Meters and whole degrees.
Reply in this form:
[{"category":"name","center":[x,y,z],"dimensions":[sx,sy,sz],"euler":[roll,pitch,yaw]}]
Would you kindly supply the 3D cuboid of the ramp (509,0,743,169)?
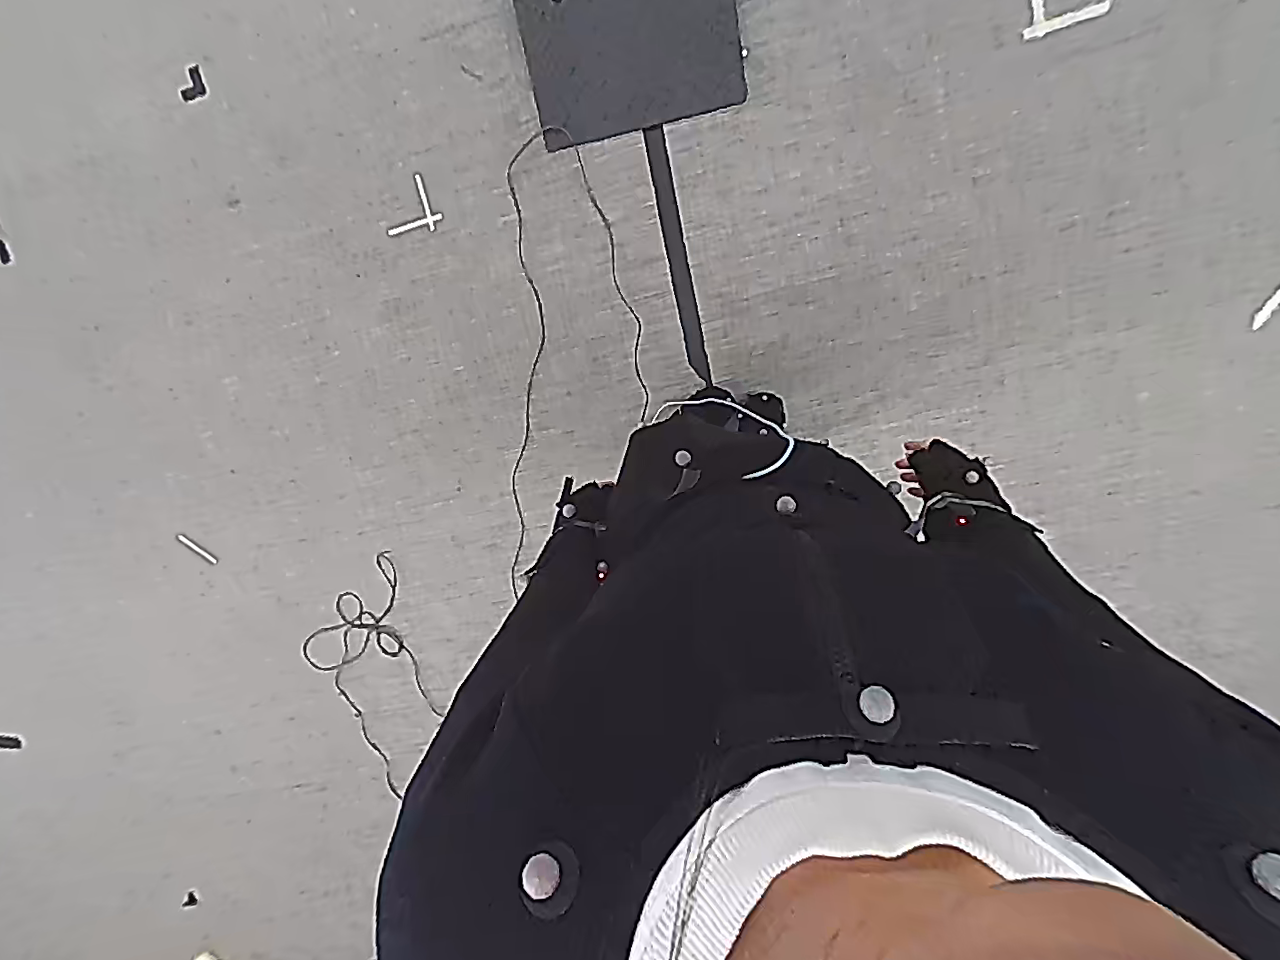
[{"category":"ramp","center":[-0.095,-1.282,1.168],"dimensions":[0.509,0.206,0.991],"euler":[-13,99,8]}]
